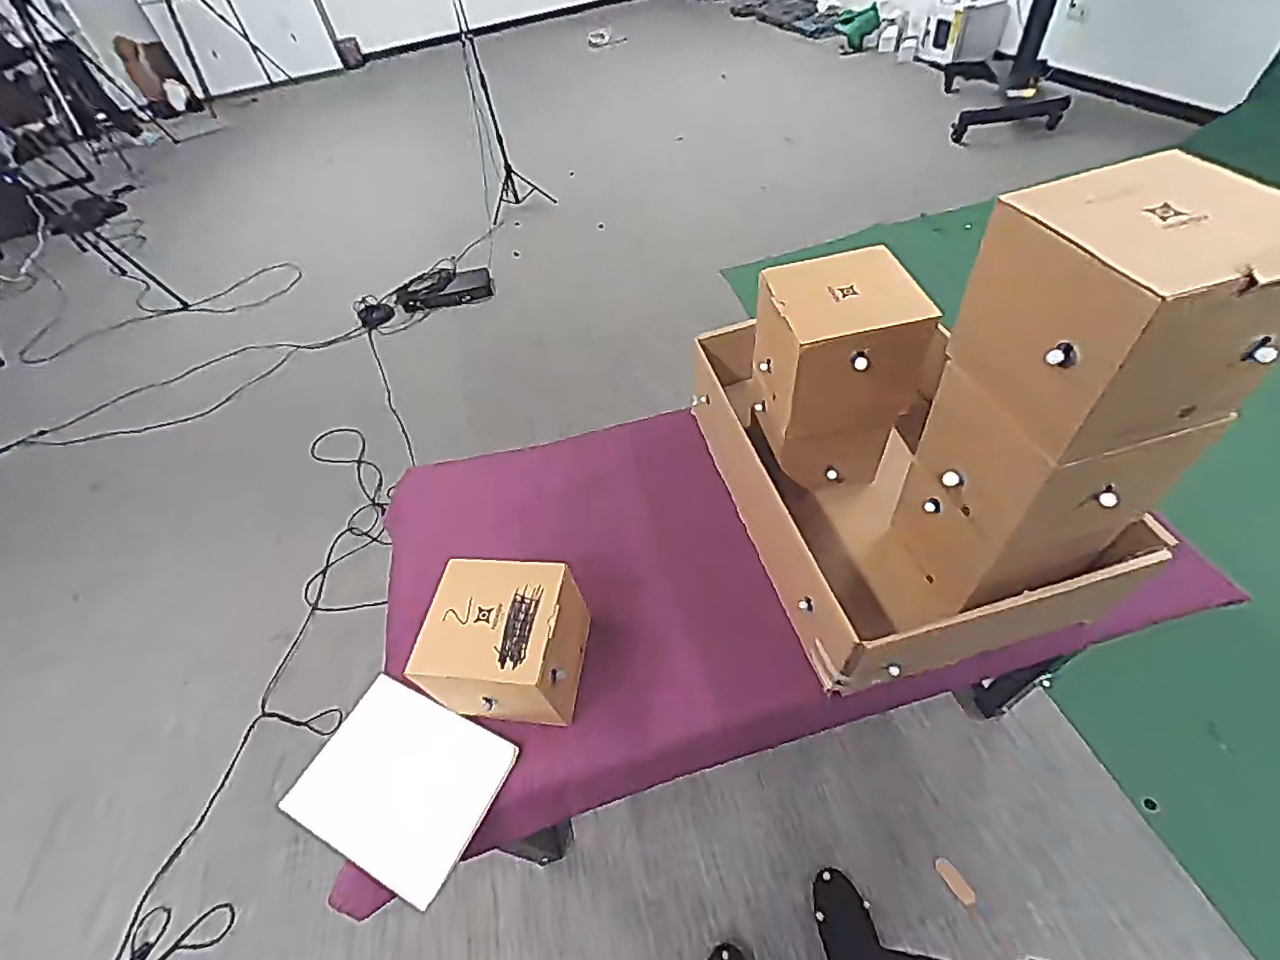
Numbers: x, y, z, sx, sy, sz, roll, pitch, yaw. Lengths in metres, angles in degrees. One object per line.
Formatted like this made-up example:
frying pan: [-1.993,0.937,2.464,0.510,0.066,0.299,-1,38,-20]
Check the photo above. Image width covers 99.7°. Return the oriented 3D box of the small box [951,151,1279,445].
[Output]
small box: [0.413,-0.150,0.472,0.168,0.176,0.179,-15,49,-1]

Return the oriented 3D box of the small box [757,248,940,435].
small box: [0.270,-0.186,0.749,0.179,0.176,0.168,-12,52,1]

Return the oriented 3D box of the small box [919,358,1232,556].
small box: [0.443,-0.042,0.592,0.179,0.176,0.168,-16,49,0]
